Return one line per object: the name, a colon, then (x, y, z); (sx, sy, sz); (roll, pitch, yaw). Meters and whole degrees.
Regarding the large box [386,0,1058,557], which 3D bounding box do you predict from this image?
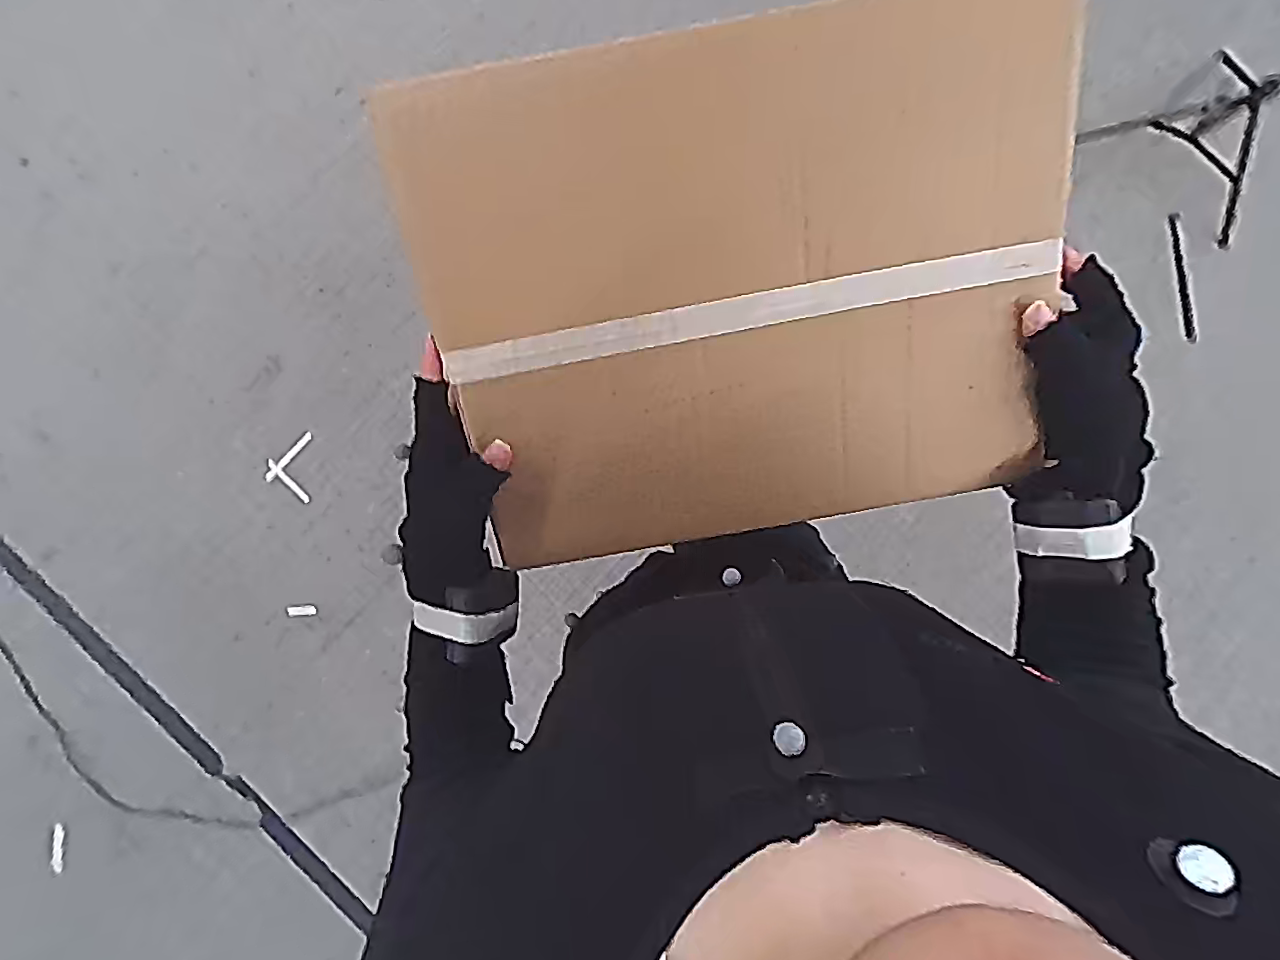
large box: (0.061, -0.167, 0.501); (0.408, 0.320, 0.320); (-10, 112, 0)
